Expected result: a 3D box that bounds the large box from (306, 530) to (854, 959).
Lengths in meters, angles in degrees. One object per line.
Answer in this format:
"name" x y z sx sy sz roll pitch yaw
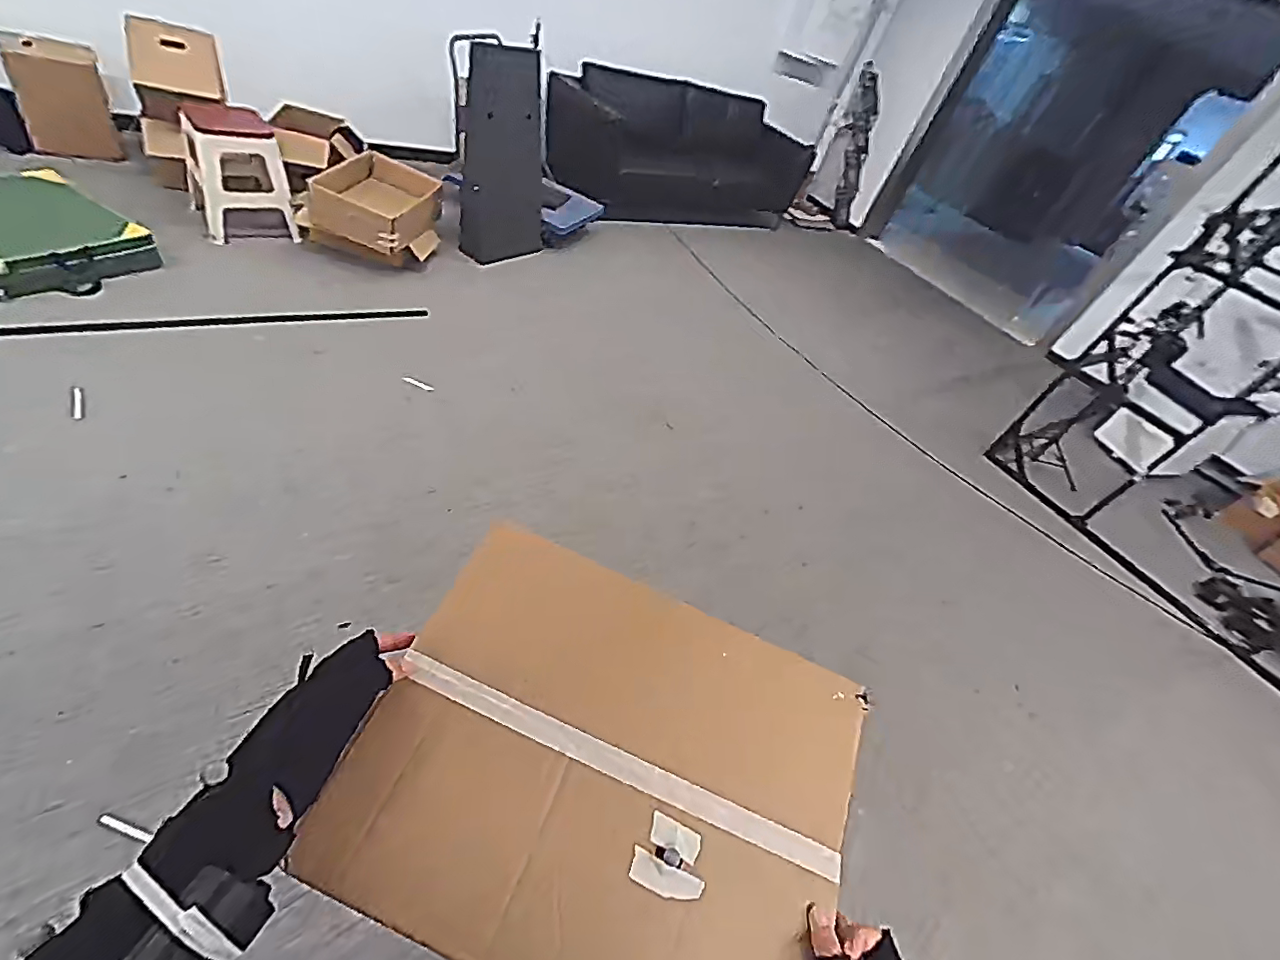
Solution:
"large box" -0.046 0.319 0.598 0.408 0.320 0.320 25 58 3
